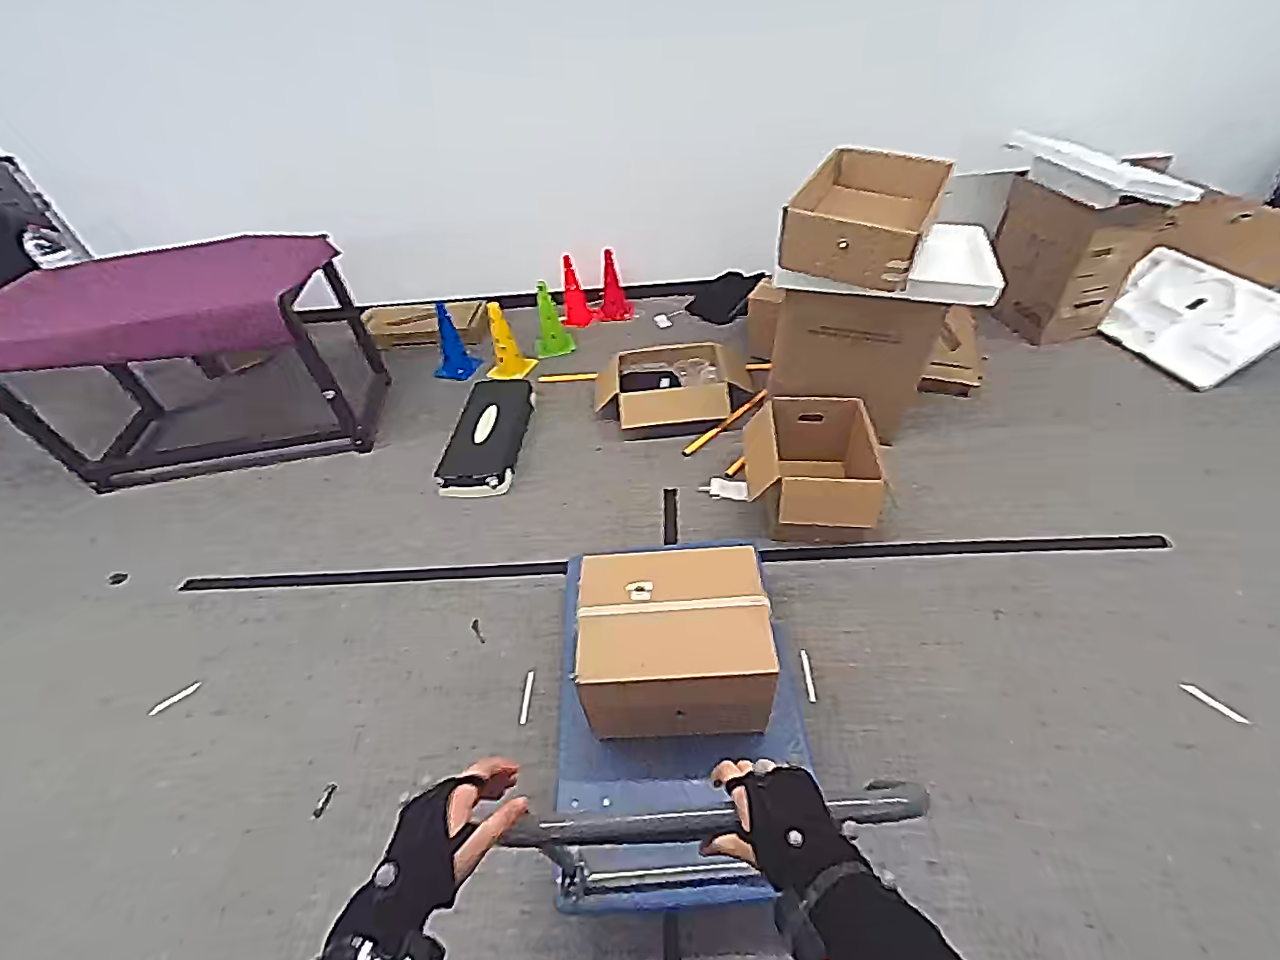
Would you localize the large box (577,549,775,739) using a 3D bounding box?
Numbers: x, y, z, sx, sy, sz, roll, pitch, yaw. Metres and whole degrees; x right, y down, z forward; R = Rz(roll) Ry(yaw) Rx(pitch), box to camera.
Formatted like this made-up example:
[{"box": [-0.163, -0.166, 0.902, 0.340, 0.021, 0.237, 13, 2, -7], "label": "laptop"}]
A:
[{"box": [0.079, 0.393, 1.281, 0.408, 0.320, 0.320, -5, 44, 2], "label": "large box"}]
